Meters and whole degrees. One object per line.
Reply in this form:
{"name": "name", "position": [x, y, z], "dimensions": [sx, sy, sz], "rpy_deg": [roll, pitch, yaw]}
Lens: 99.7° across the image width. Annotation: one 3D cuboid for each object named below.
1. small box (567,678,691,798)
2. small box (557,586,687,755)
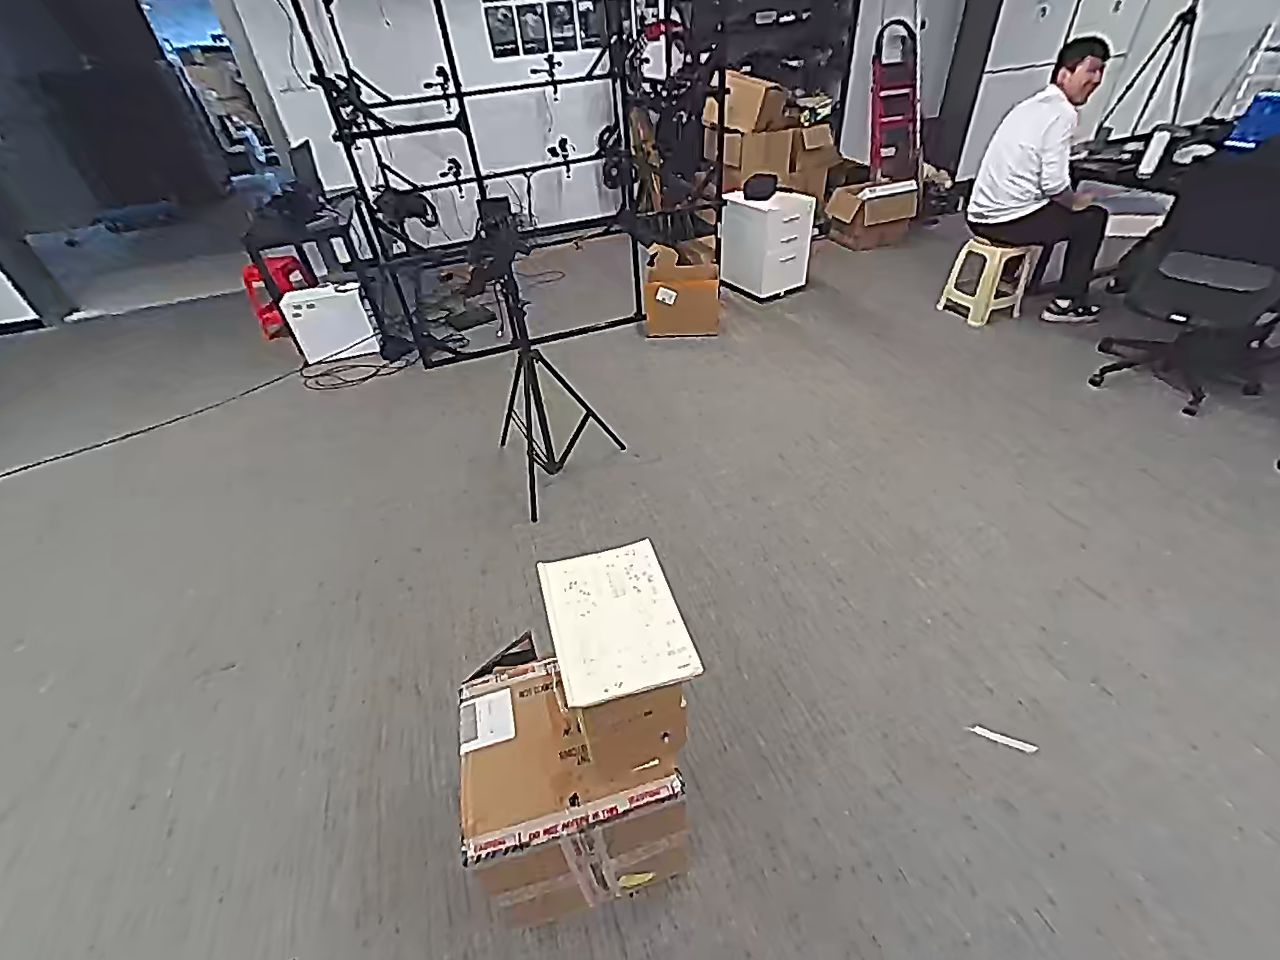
{"name": "small box", "position": [-0.021, 0.441, 0.989], "dimensions": [0.179, 0.176, 0.168], "rpy_deg": [-17, 42, -15]}
{"name": "small box", "position": [-0.033, 0.311, 0.890], "dimensions": [0.168, 0.176, 0.179], "rpy_deg": [-14, 41, -14]}
